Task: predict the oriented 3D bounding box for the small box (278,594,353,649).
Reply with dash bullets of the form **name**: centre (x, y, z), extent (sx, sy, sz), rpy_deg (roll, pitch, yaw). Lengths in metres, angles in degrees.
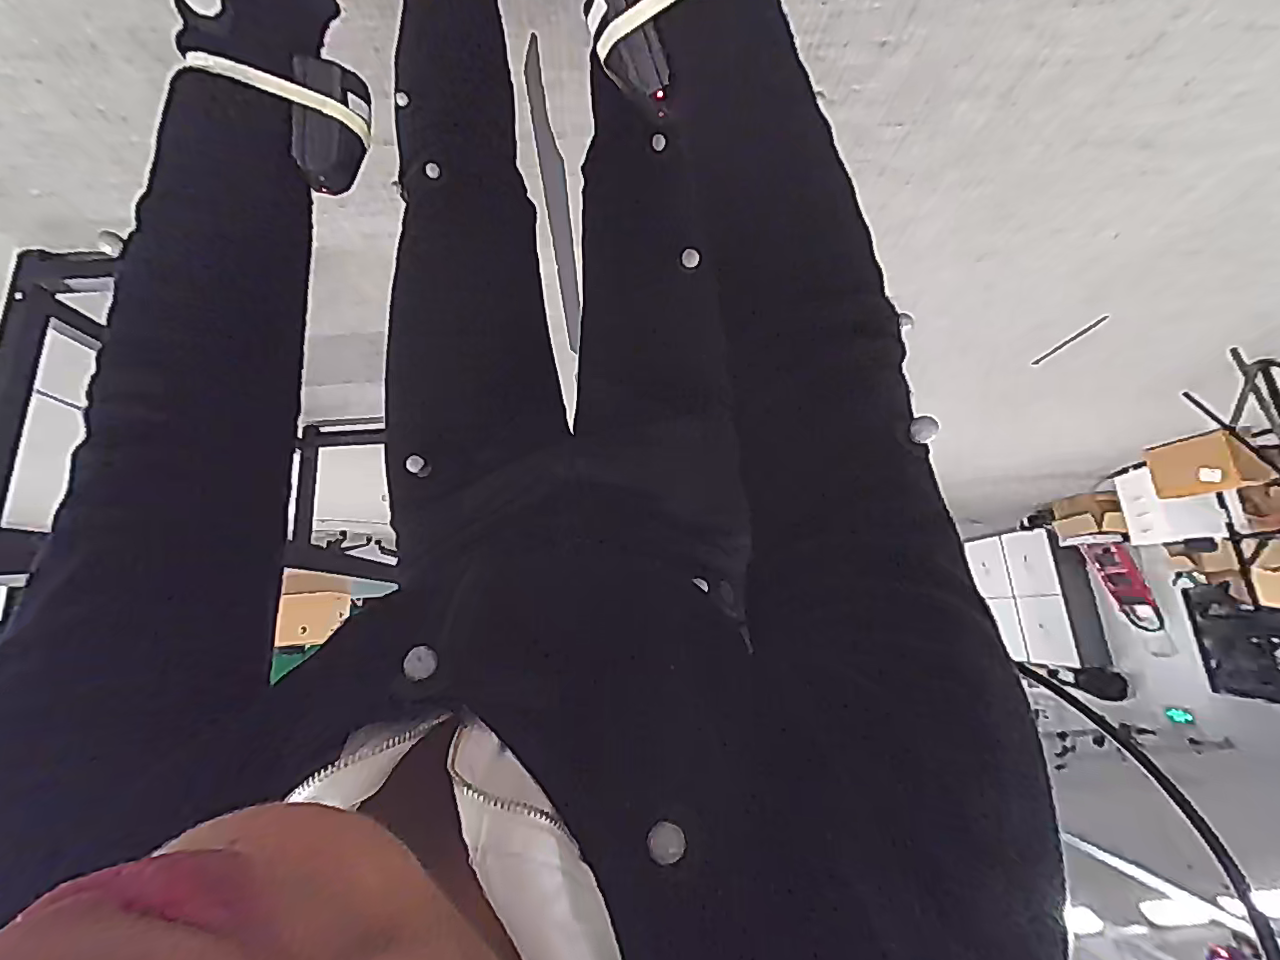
- **small box**: centre (-1.116, 0.488, 1.874), extent (0.179, 0.176, 0.168), rpy_deg (-3, 165, -5)
